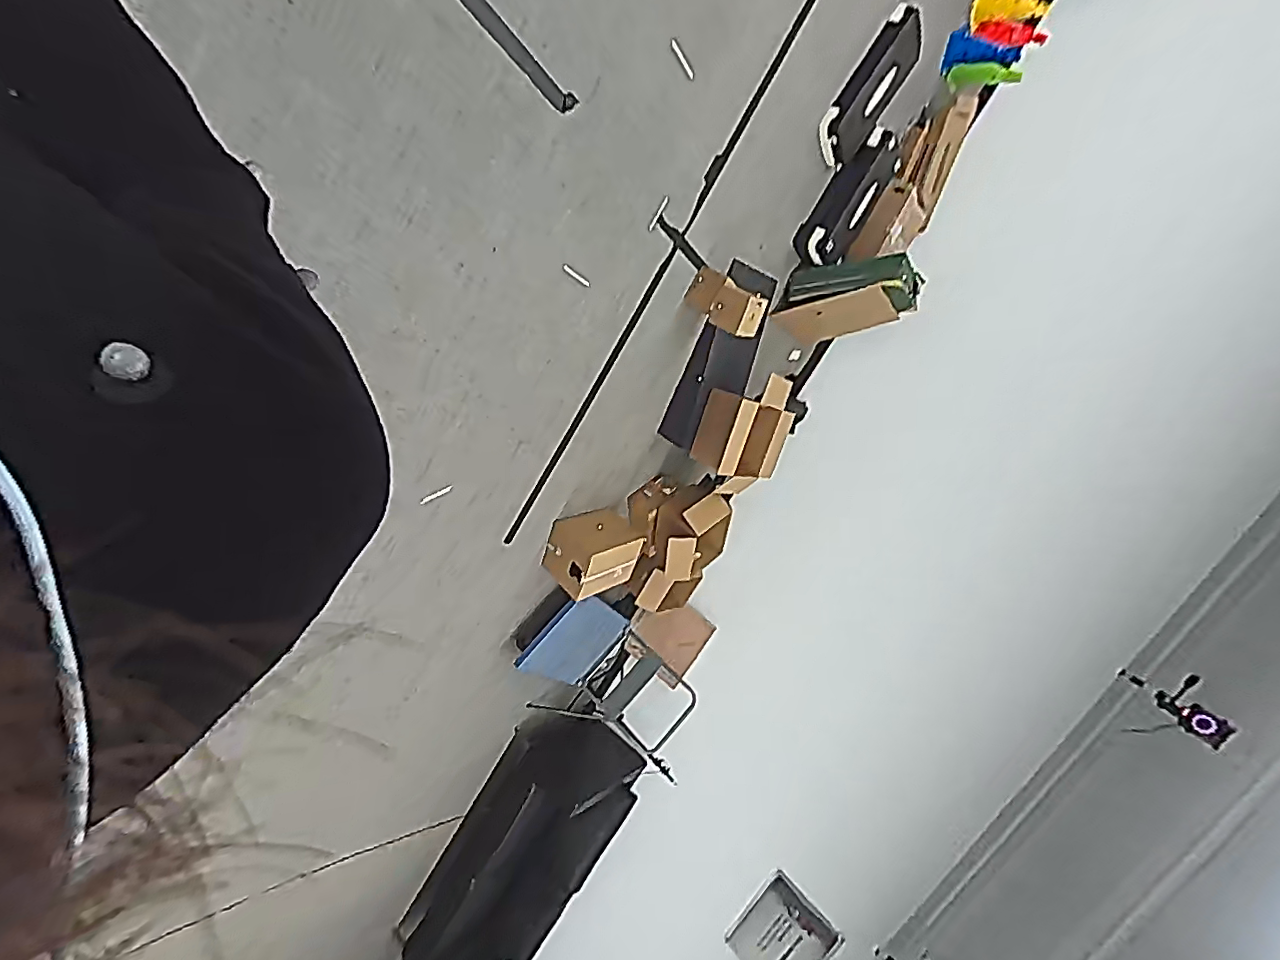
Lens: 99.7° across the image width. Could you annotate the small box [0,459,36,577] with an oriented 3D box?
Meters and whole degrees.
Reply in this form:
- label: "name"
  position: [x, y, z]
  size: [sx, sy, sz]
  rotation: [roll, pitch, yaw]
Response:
- label: "small box"
  position: [-1.288, 0.066, 1.015]
  size: [0.168, 0.176, 0.179]
  rotation: [12, 111, -59]
